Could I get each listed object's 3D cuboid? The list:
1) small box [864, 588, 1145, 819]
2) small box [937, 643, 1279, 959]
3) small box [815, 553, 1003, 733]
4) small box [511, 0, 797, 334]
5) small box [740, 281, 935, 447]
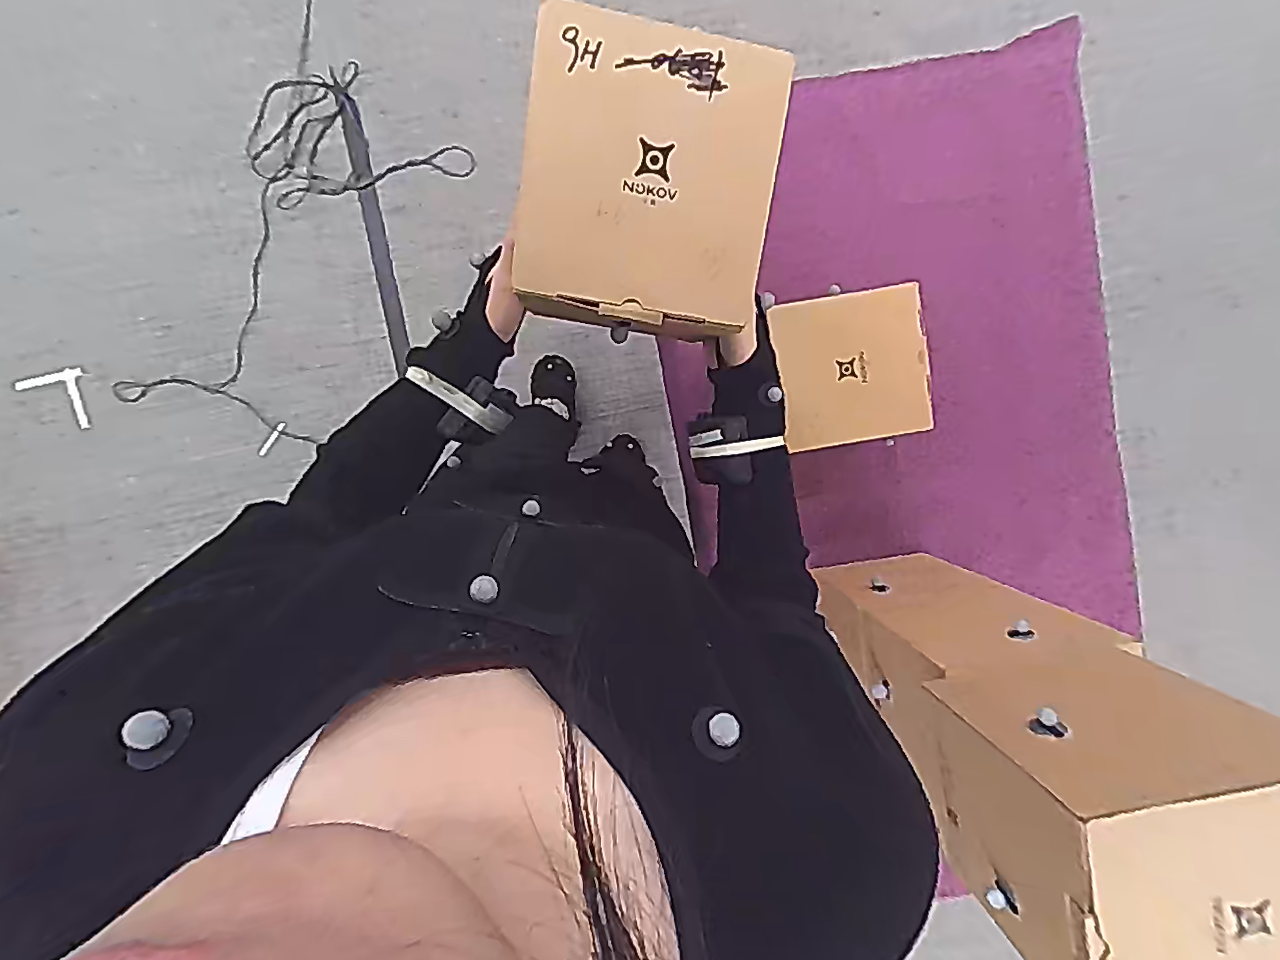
[{"bbox_3d":[0.356,0.219,0.551,0.179,0.176,0.168,-8,95,-2],"label":"small box"},{"bbox_3d":[0.342,0.238,0.389,0.179,0.176,0.168,-11,96,-2],"label":"small box"},{"bbox_3d":[0.344,0.202,0.714,0.179,0.176,0.168,-8,96,-2],"label":"small box"},{"bbox_3d":[-0.001,-0.216,0.427,0.168,0.176,0.179,7,102,-8],"label":"small box"},{"bbox_3d":[0.232,-0.134,0.681,0.179,0.176,0.168,-10,95,-3],"label":"small box"}]
